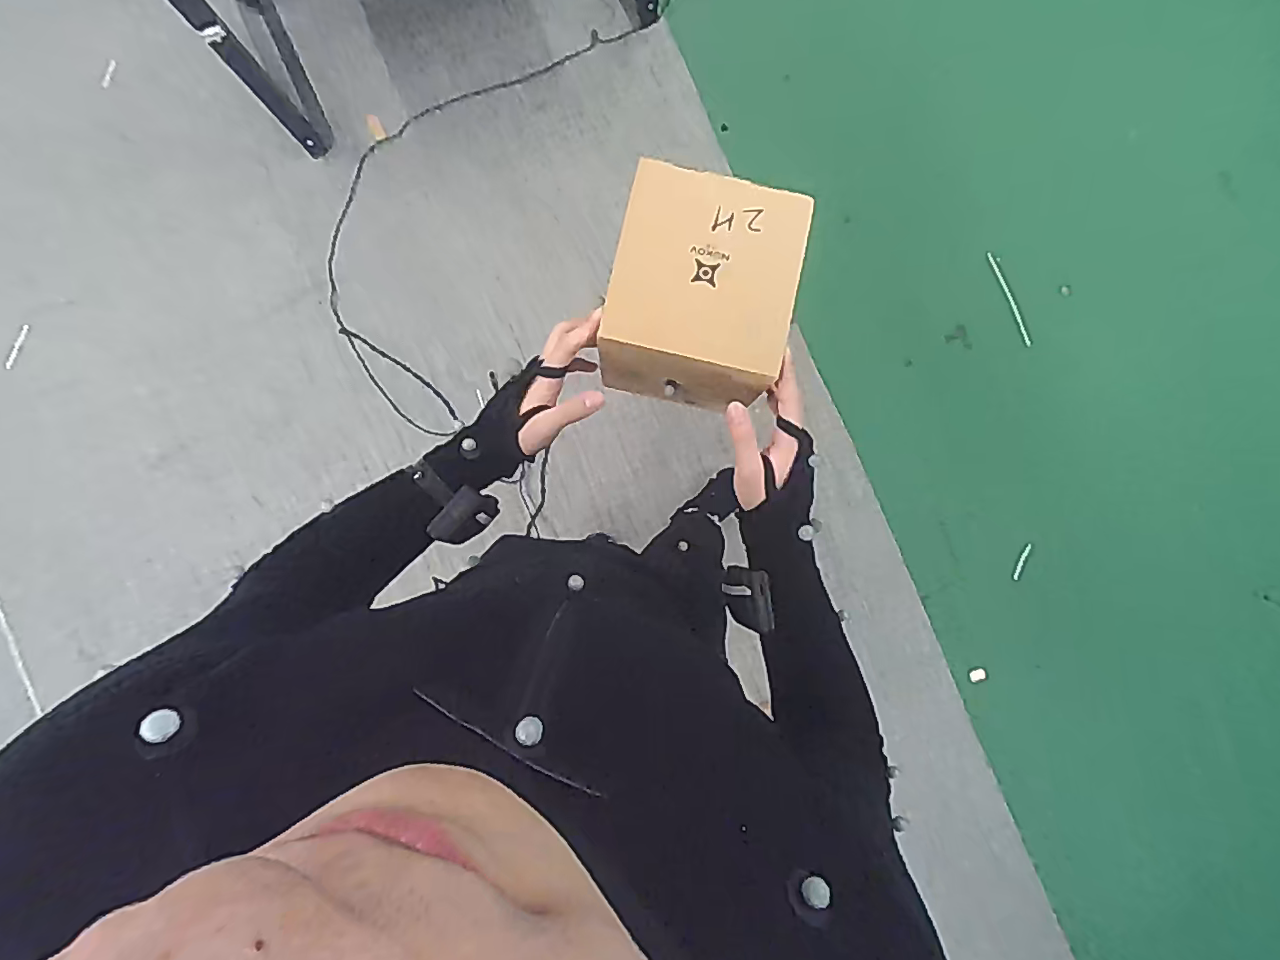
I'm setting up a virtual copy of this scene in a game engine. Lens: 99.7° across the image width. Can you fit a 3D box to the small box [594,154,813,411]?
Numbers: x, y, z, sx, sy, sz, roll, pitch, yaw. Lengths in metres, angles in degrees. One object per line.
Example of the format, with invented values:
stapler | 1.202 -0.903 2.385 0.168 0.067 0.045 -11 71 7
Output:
small box | 0.055 -0.183 0.556 0.168 0.176 0.179 13 83 -2
